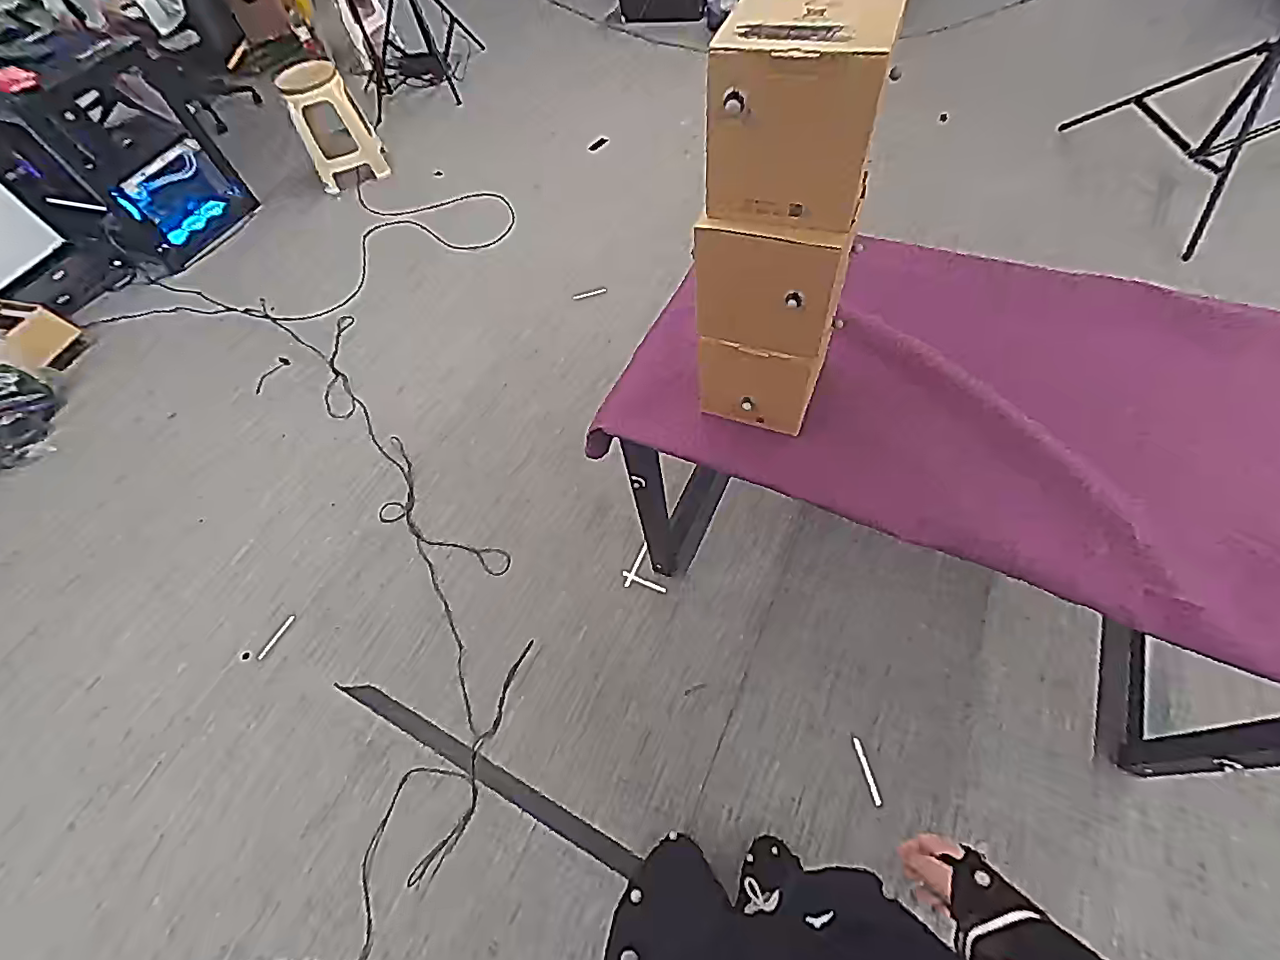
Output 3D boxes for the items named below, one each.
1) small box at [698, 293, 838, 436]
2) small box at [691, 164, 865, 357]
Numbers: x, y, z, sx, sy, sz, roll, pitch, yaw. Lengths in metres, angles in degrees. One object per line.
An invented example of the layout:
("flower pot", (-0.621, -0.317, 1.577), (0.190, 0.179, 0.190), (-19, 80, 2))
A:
("small box", (0.197, -0.202, 0.860), (0.168, 0.176, 0.179), (18, 62, 18))
("small box", (0.179, -0.289, 0.725), (0.179, 0.176, 0.168), (16, 60, 18))
